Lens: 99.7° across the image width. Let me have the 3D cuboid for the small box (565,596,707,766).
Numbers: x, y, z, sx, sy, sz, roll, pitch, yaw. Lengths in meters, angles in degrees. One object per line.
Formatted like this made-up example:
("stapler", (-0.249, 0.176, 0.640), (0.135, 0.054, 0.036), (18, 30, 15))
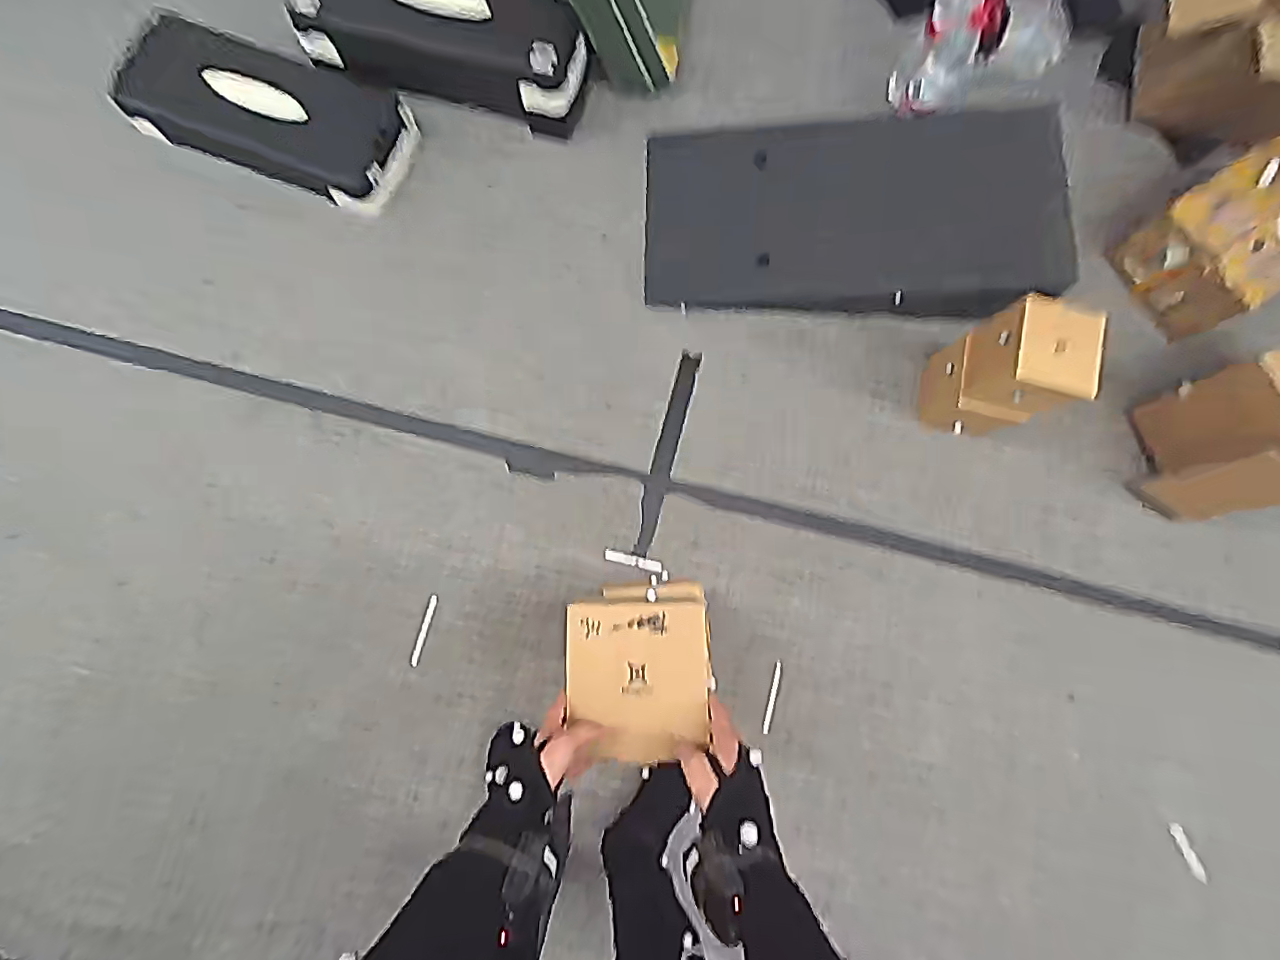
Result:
("small box", (0.002, 0.248, 0.704), (0.168, 0.176, 0.179), (0, 81, 4))
